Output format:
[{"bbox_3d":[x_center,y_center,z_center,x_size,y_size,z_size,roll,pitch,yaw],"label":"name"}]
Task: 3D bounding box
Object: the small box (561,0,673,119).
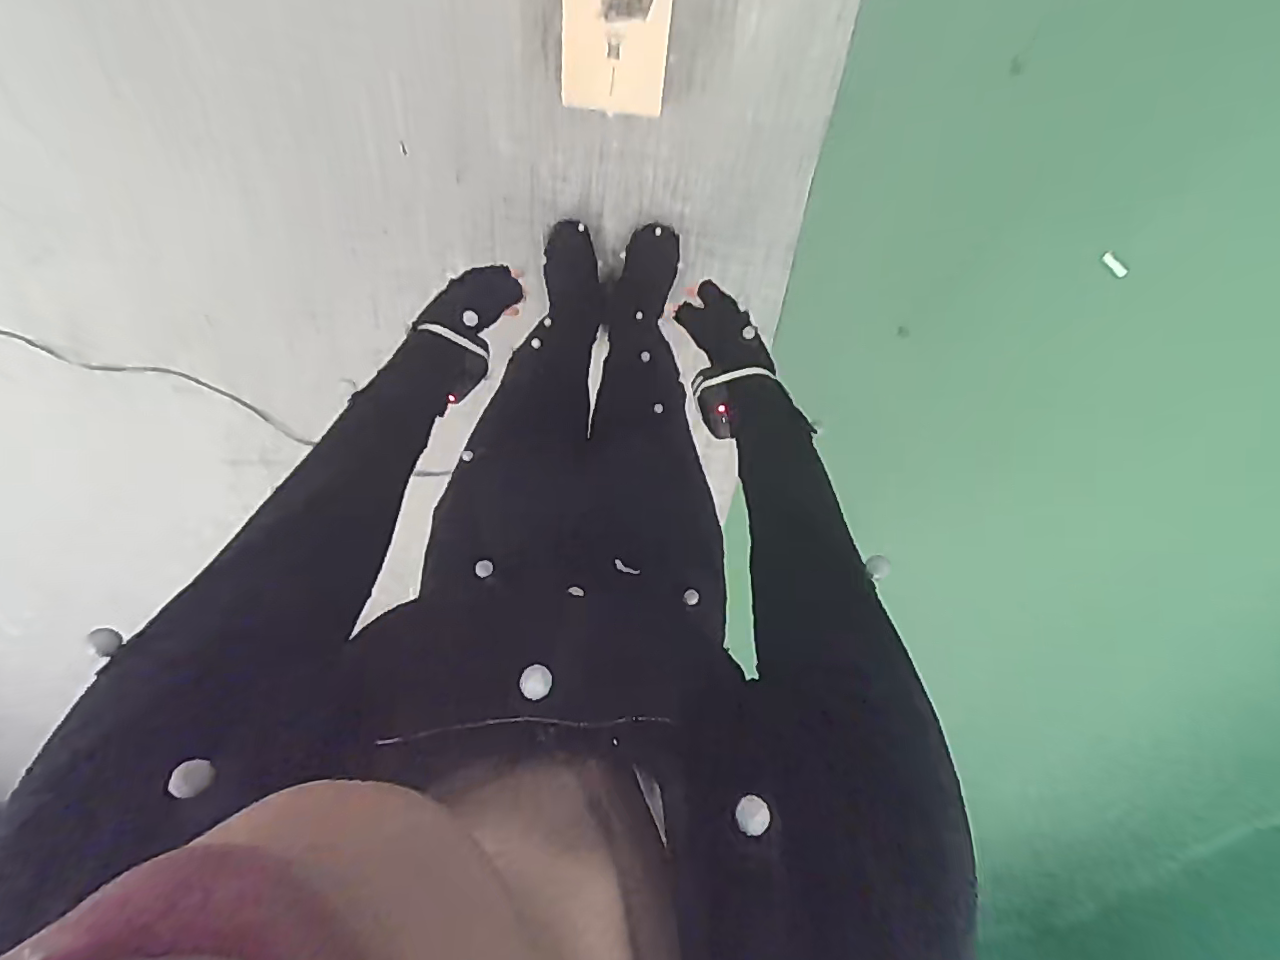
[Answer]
[{"bbox_3d":[-0.039,-0.720,0.899,0.168,0.176,0.179,5,128,-3],"label":"small box"}]
